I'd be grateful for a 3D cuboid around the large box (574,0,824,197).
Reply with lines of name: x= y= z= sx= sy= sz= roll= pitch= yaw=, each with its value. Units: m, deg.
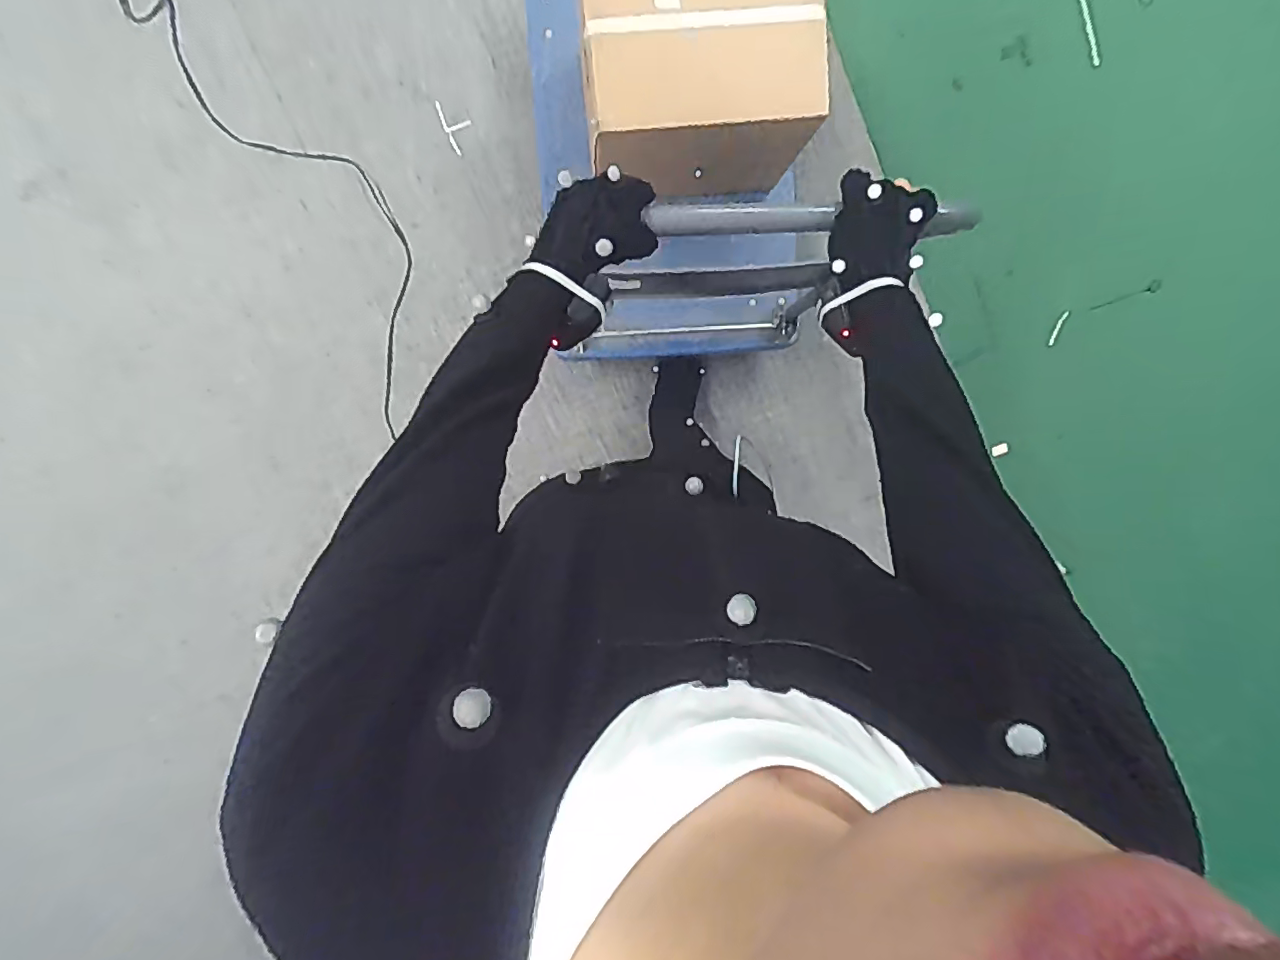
large box: x=0.094 y=-0.781 z=1.046 sx=0.408 sy=0.320 sz=0.320 roll=-7 pitch=97 yaw=-4
